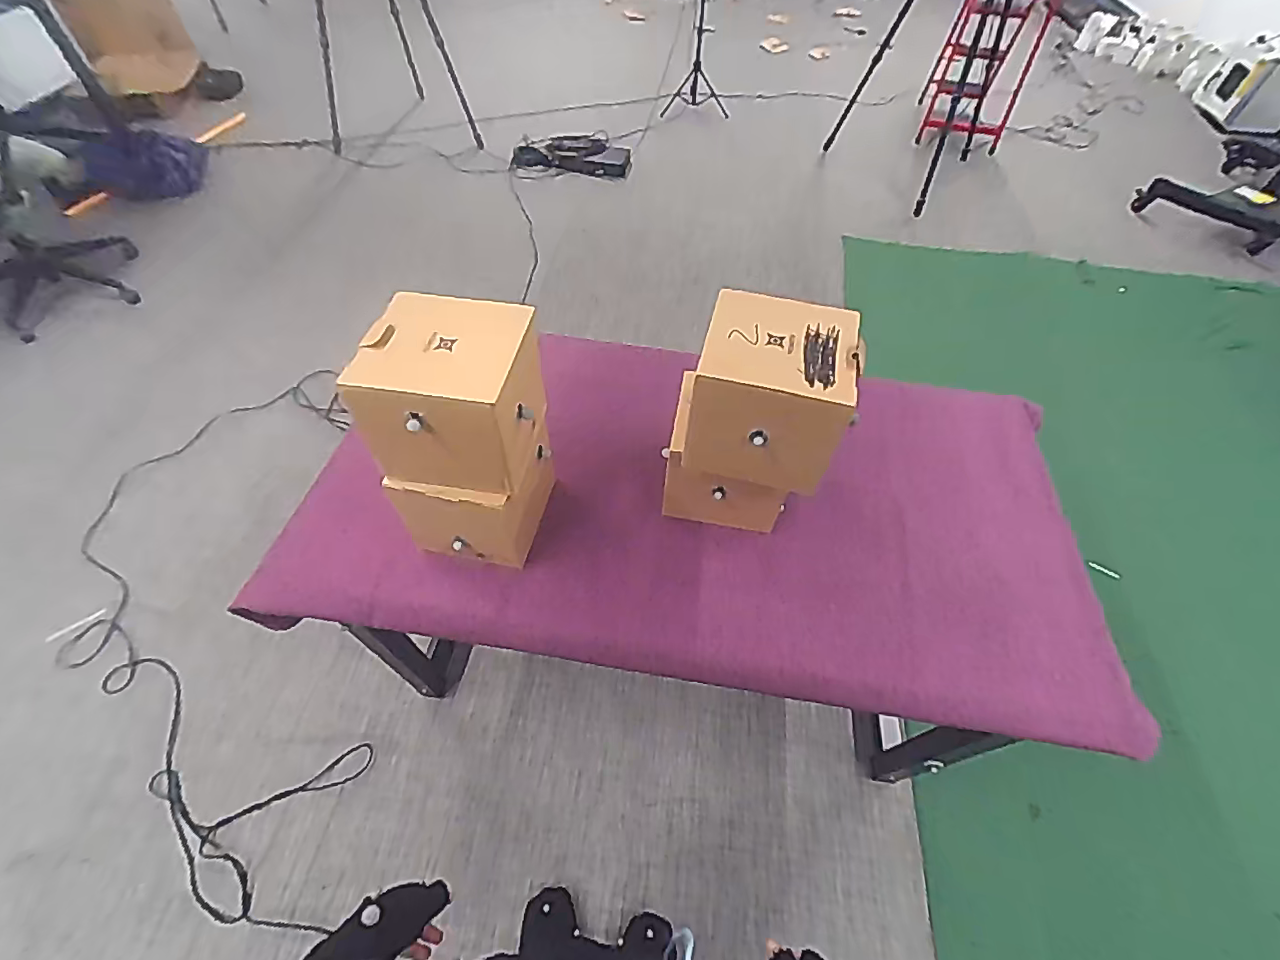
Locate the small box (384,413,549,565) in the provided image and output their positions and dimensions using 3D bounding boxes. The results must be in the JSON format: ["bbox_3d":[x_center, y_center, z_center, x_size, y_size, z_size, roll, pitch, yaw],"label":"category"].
[{"bbox_3d":[-0.238,-0.002,0.799,0.168,0.176,0.179,12,54,5],"label":"small box"}]

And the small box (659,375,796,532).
[{"bbox_3d":[0.133,-0.036,0.848,0.179,0.176,0.168,10,55,5],"label":"small box"}]

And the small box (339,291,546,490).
[{"bbox_3d":[-0.223,-0.105,0.673,0.179,0.176,0.168,8,54,3],"label":"small box"}]
